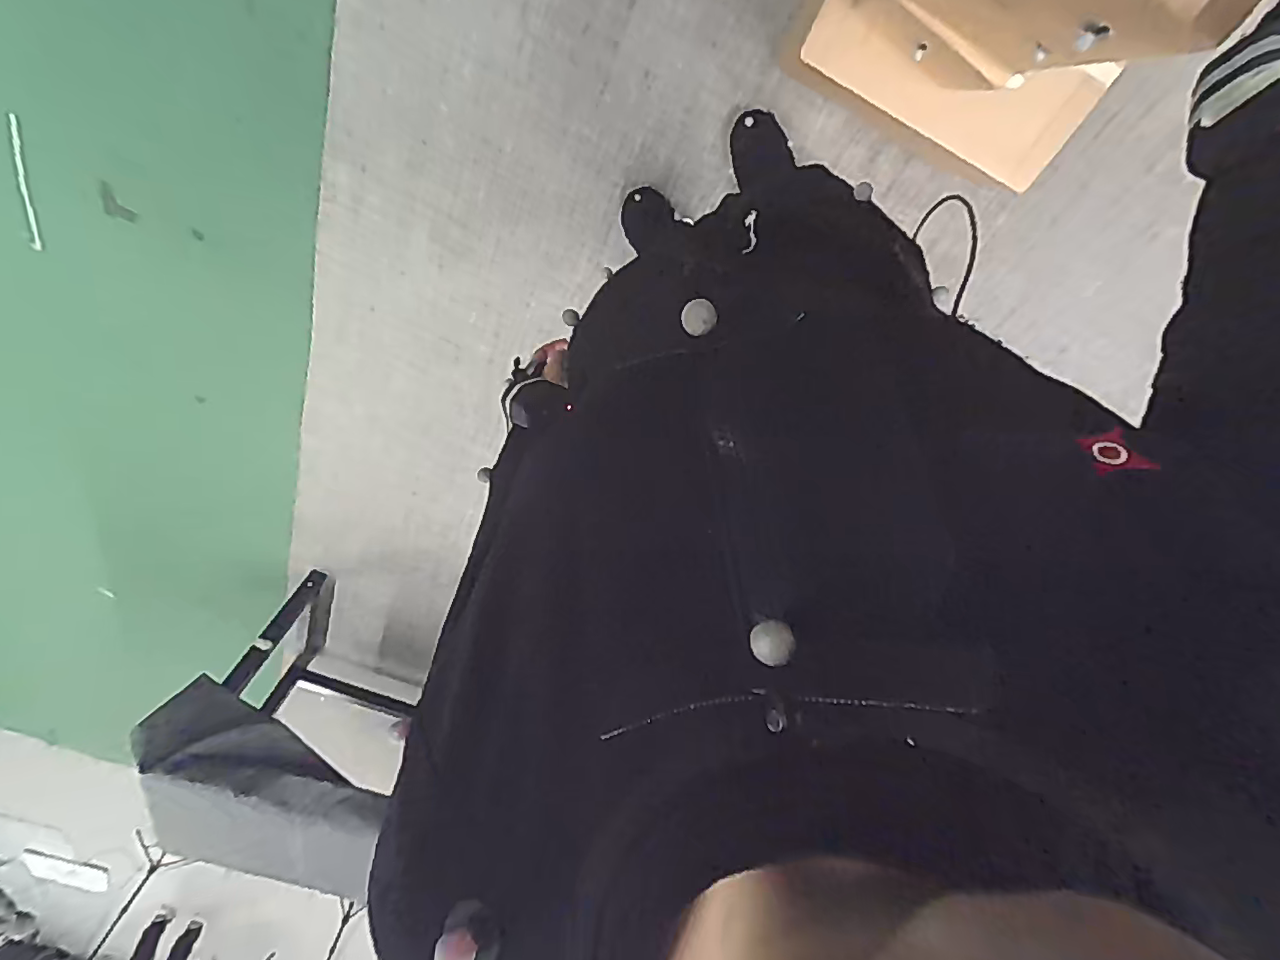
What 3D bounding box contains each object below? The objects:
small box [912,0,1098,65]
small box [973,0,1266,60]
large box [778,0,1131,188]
[{"bbox_3d":[0.369,-0.501,0.479,0.179,0.176,0.168,24,124,-10],"label":"small box"},{"bbox_3d":[0.330,-0.407,0.350,0.179,0.176,0.168,24,123,-10],"label":"small box"},{"bbox_3d":[0.476,-0.709,0.820,0.408,0.320,0.320,22,126,-11],"label":"large box"}]
